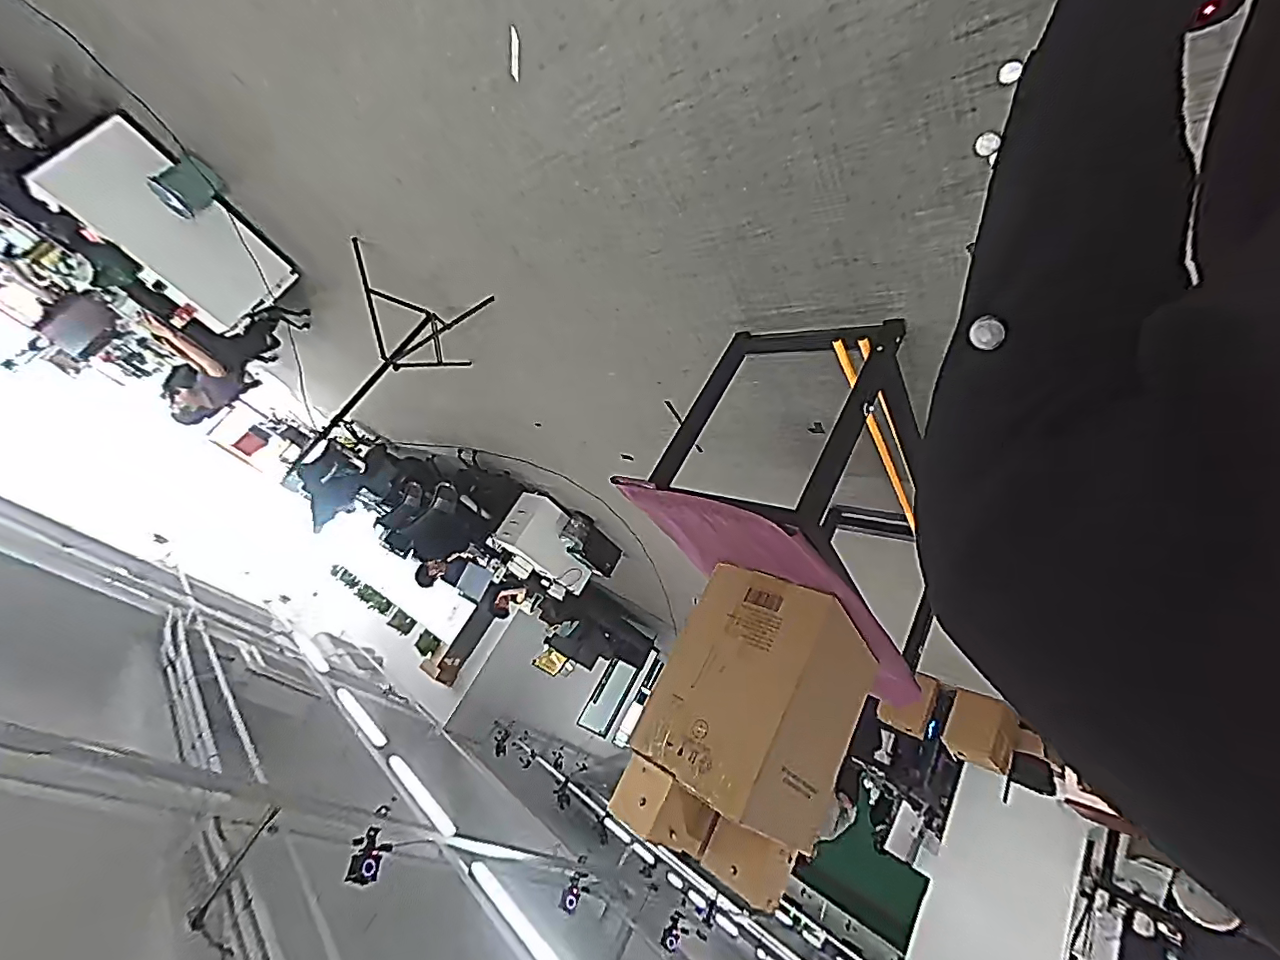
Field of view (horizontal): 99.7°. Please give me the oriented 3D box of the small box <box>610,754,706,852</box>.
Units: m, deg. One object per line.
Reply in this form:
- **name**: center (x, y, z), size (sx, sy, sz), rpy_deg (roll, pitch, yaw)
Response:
- **small box**: center (0.055, 0.904, 1.526), size (0.168, 0.176, 0.179), rpy_deg (7, 151, 48)
